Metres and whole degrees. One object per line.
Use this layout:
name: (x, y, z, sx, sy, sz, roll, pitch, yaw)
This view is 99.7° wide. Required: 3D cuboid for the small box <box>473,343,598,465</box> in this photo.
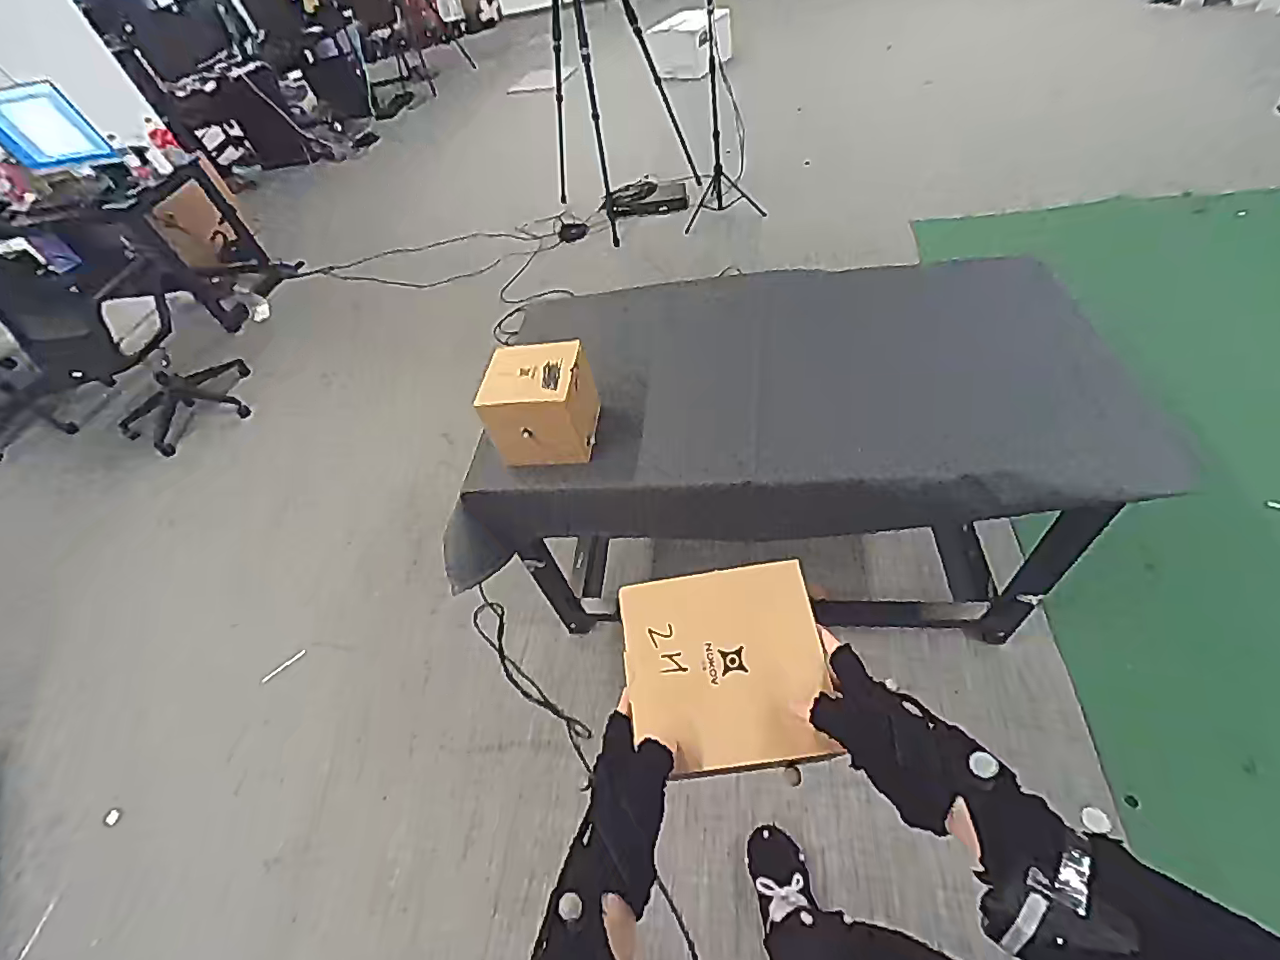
small box: (-0.189, -0.143, 1.046, 0.179, 0.176, 0.168, -2, 51, 11)
